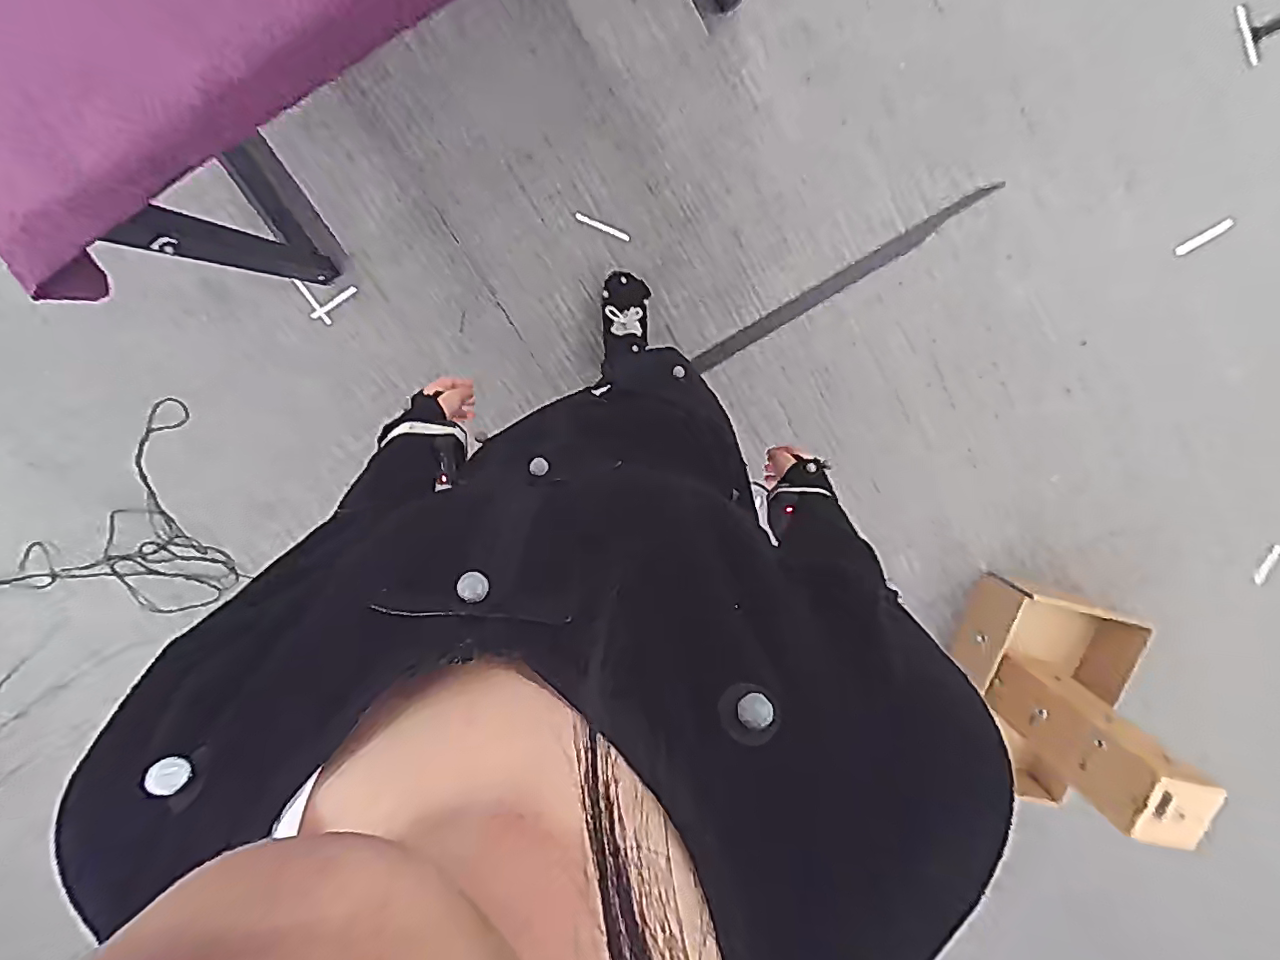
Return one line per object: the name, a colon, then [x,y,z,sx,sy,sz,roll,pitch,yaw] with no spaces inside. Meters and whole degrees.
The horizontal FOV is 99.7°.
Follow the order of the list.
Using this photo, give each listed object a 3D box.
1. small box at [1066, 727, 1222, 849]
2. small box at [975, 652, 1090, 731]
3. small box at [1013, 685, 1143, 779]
small box: [1.152,0.705,1.255,0.179,0.176,0.168,15,102,-8]
small box: [1.130,0.626,1.571,0.179,0.176,0.168,17,102,-7]
small box: [1.139,0.666,1.414,0.179,0.176,0.168,16,102,-6]
